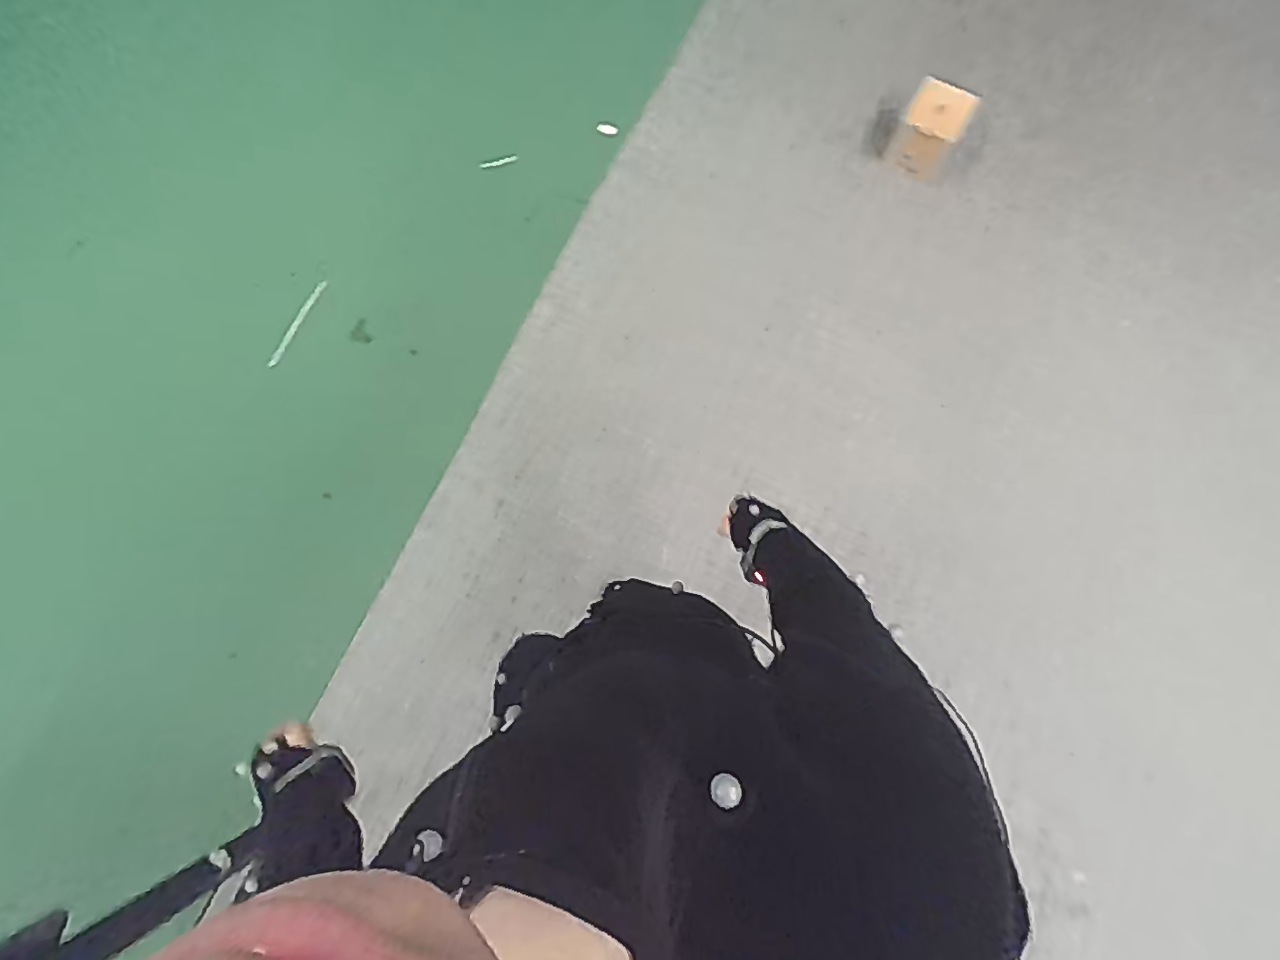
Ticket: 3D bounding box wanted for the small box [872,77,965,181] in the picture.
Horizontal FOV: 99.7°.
[{"bbox_3d":[0.849,-1.076,1.669,0.168,0.176,0.179,29,81,6],"label":"small box"}]
